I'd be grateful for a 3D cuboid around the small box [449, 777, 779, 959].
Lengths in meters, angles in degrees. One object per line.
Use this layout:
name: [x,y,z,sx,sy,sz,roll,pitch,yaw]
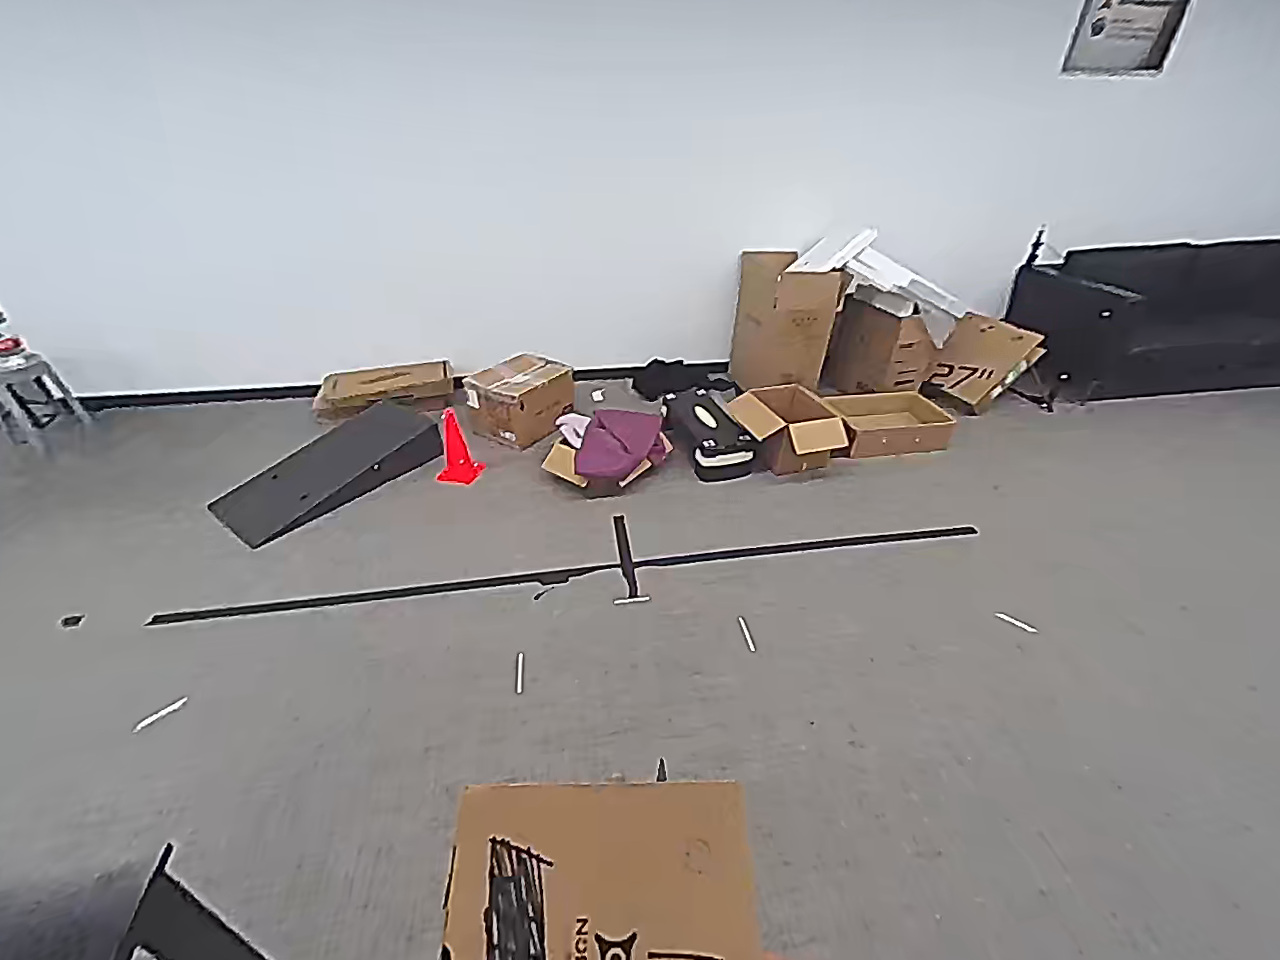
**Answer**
small box: [-0.015,0.296,0.348,0.179,0.176,0.168,0,55,-2]
